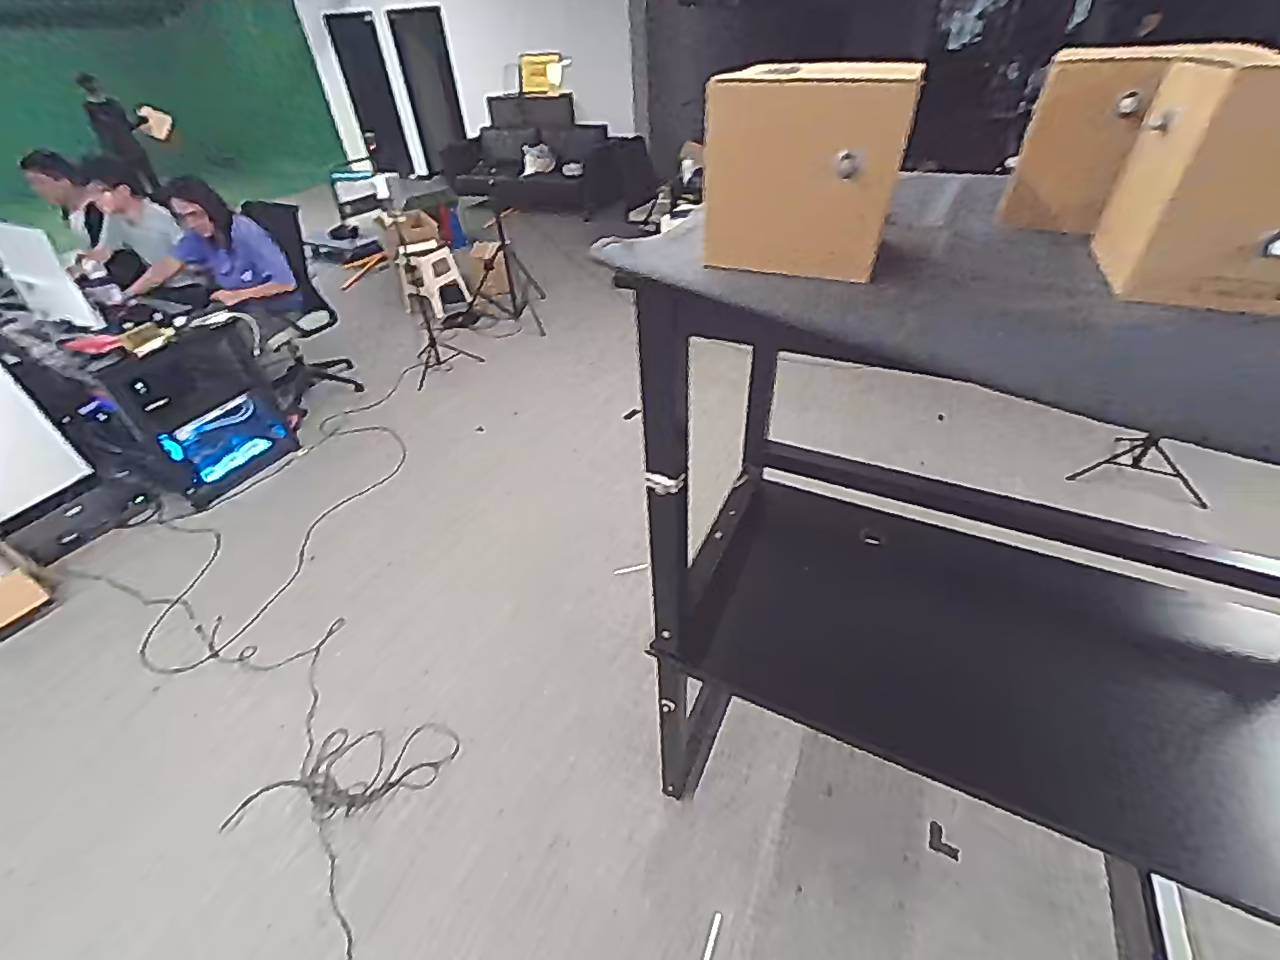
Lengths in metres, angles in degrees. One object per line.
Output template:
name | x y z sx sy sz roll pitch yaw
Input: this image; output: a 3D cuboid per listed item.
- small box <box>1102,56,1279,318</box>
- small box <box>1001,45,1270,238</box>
small box | 0.533 -0.249 0.456 0.168 0.176 0.179 15 43 21
small box | 0.557 -0.389 0.627 0.179 0.176 0.168 20 45 26
